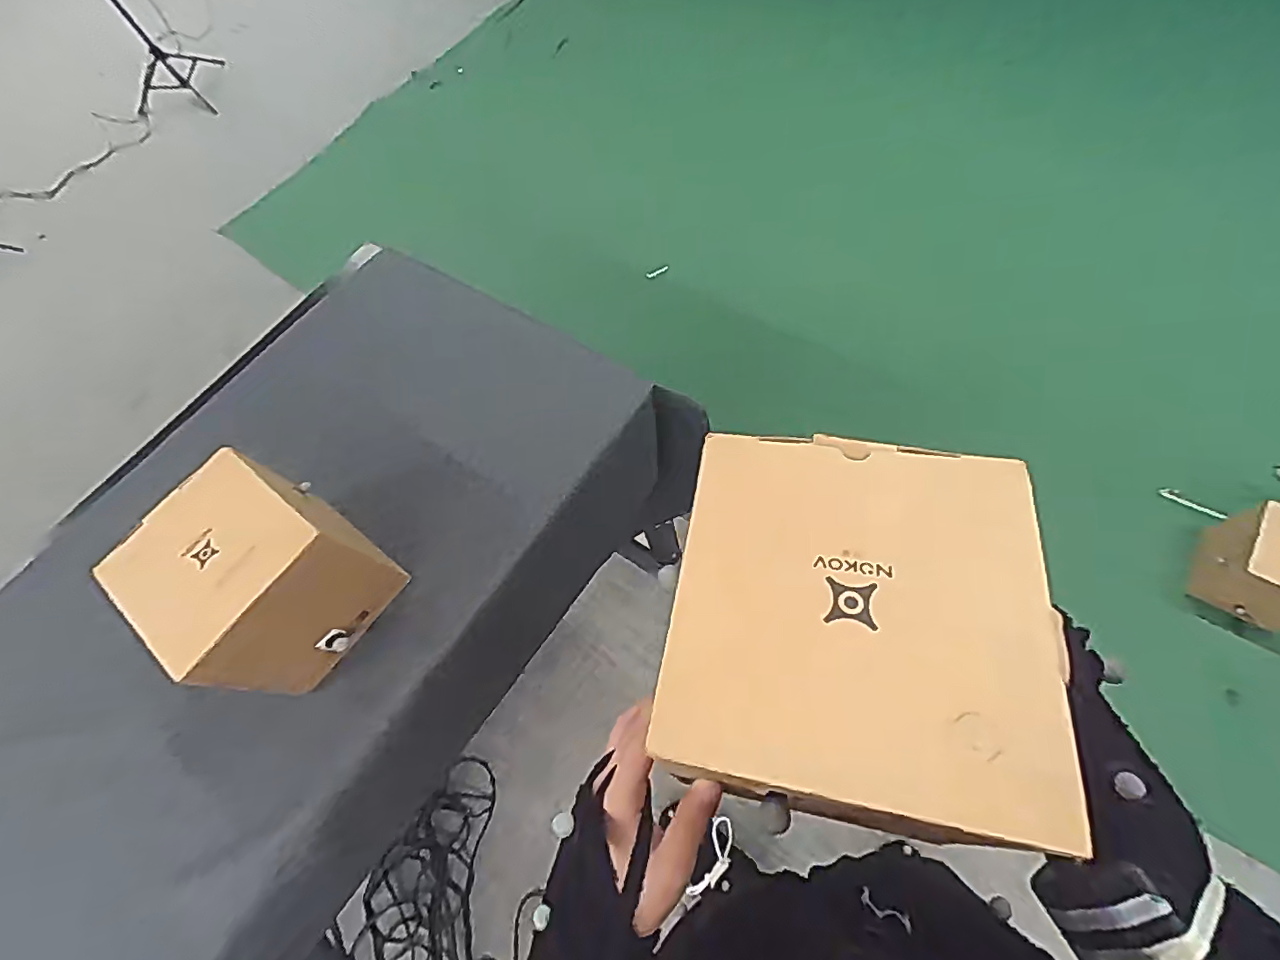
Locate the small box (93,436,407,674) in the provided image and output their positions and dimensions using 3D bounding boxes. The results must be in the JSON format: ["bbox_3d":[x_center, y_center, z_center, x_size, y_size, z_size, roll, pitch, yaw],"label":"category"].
[{"bbox_3d":[-0.397,0.089,0.579,0.179,0.176,0.168,32,75,20],"label":"small box"}]

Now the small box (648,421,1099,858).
[{"bbox_3d":[0.113,0.090,0.313,0.168,0.176,0.179,7,59,14],"label":"small box"}]
